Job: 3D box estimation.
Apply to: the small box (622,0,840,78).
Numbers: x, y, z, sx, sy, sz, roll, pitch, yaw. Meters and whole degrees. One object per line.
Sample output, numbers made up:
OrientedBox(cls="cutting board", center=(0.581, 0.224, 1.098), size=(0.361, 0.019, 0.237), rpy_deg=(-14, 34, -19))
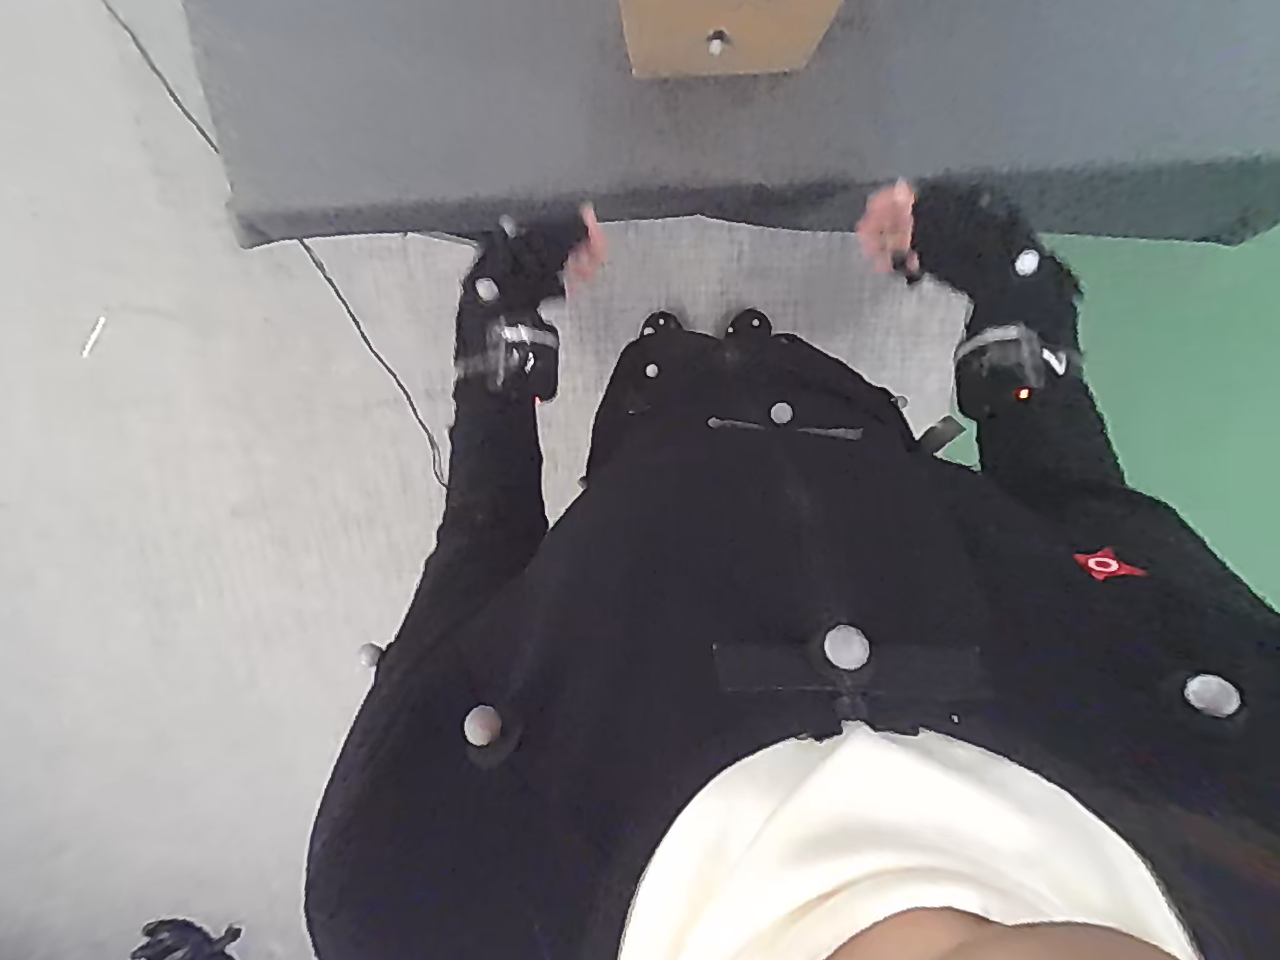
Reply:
OrientedBox(cls="small box", center=(0.075, -0.474, 0.463), size=(0.179, 0.176, 0.168), rpy_deg=(0, 108, 5))
